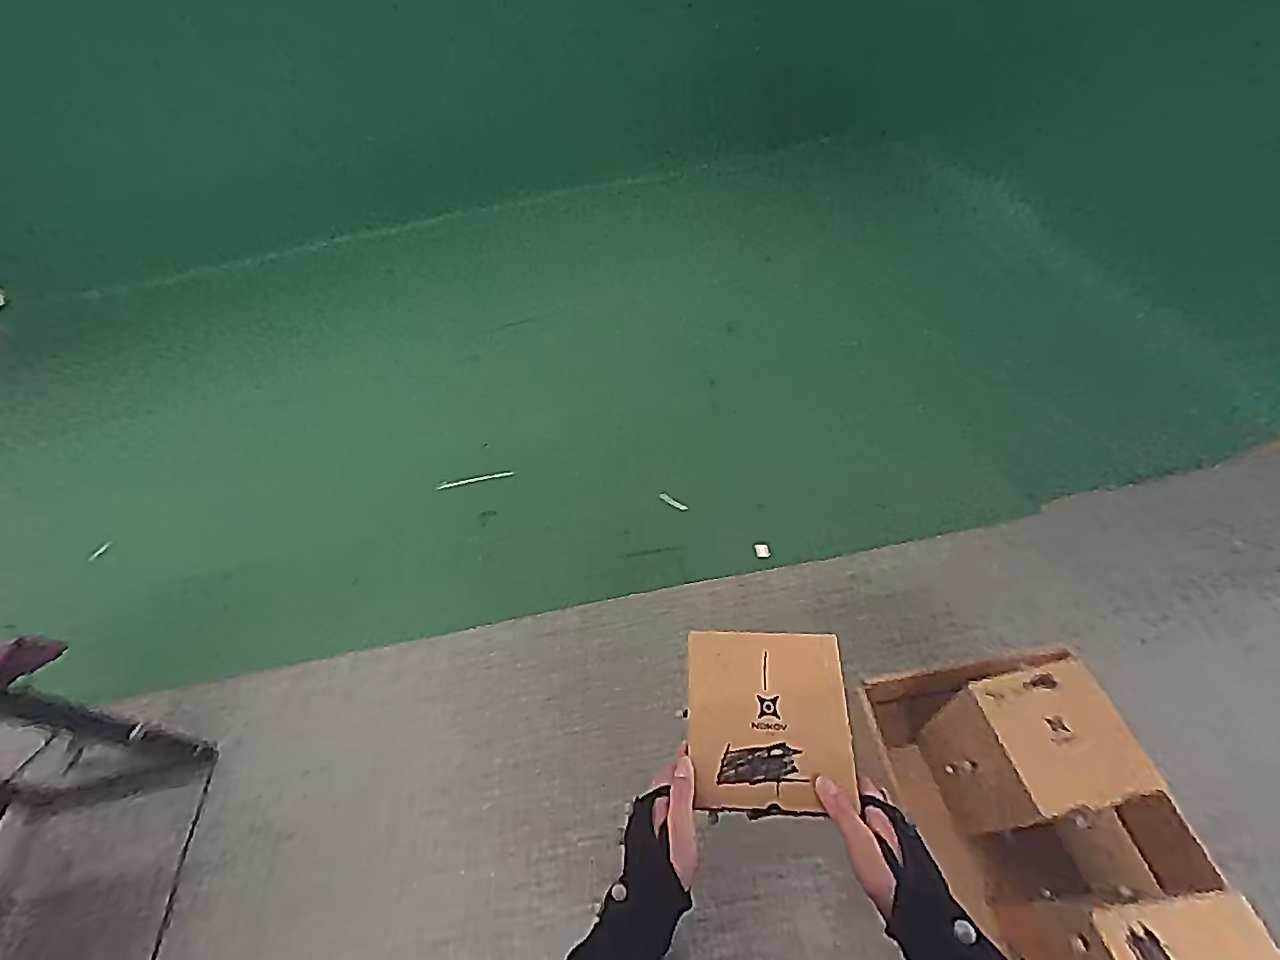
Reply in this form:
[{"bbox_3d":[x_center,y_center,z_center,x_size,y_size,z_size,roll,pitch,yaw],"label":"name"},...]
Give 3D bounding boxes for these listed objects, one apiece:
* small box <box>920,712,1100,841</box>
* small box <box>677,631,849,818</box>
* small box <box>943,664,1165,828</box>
[{"bbox_3d":[0.614,0.500,0.929,0.168,0.176,0.179,-11,52,2],"label":"small box"},{"bbox_3d":[0.127,0.286,0.628,0.168,0.176,0.179,0,58,4],"label":"small box"},{"bbox_3d":[0.589,0.400,0.802,0.168,0.176,0.179,-13,52,1],"label":"small box"}]
